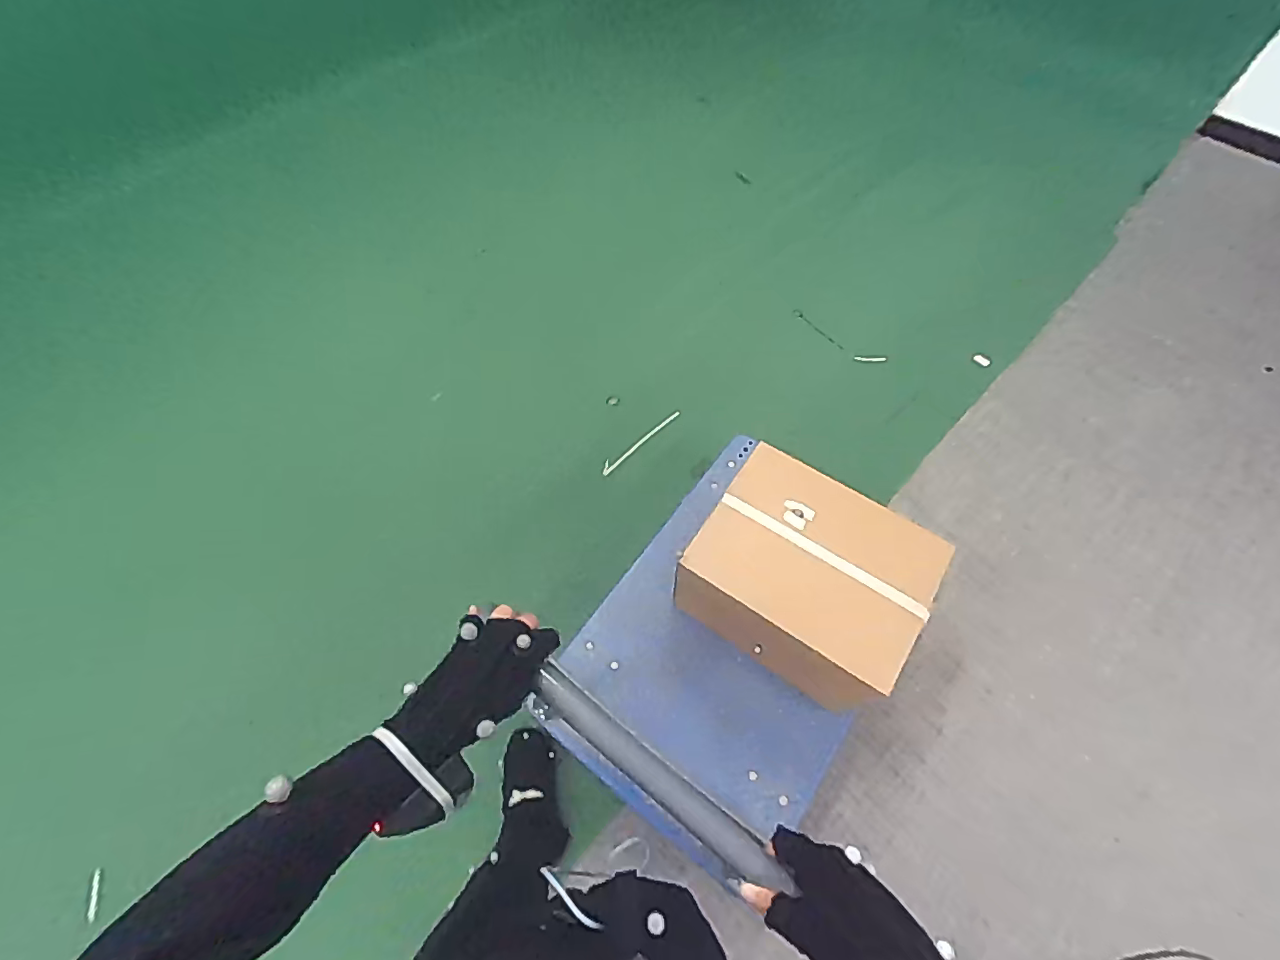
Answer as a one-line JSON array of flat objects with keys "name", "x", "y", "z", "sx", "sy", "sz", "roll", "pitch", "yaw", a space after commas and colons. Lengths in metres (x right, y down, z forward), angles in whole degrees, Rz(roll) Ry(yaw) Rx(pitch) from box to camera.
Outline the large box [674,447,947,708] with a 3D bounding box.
[{"name": "large box", "x": 0.317, "y": 0.207, "z": 1.110, "sx": 0.408, "sy": 0.320, "sz": 0.320, "roll": 31, "pitch": 67, "yaw": 18}]
